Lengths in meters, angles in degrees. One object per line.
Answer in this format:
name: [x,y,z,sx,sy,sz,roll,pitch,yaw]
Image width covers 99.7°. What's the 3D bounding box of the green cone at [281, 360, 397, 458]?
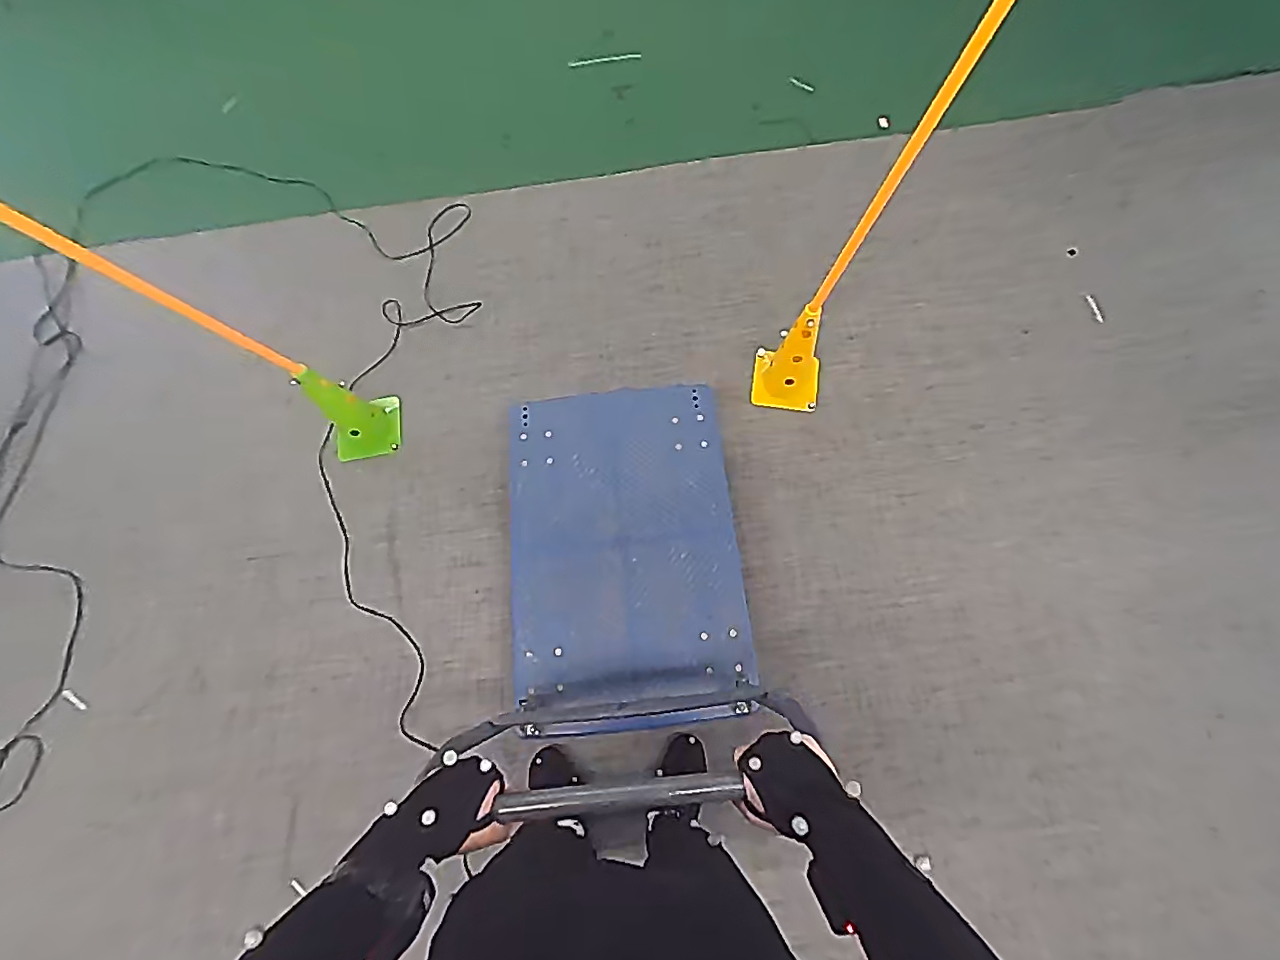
green cone: [-0.880,-0.233,1.547,0.202,0.368,0.200,-12,69,0]
